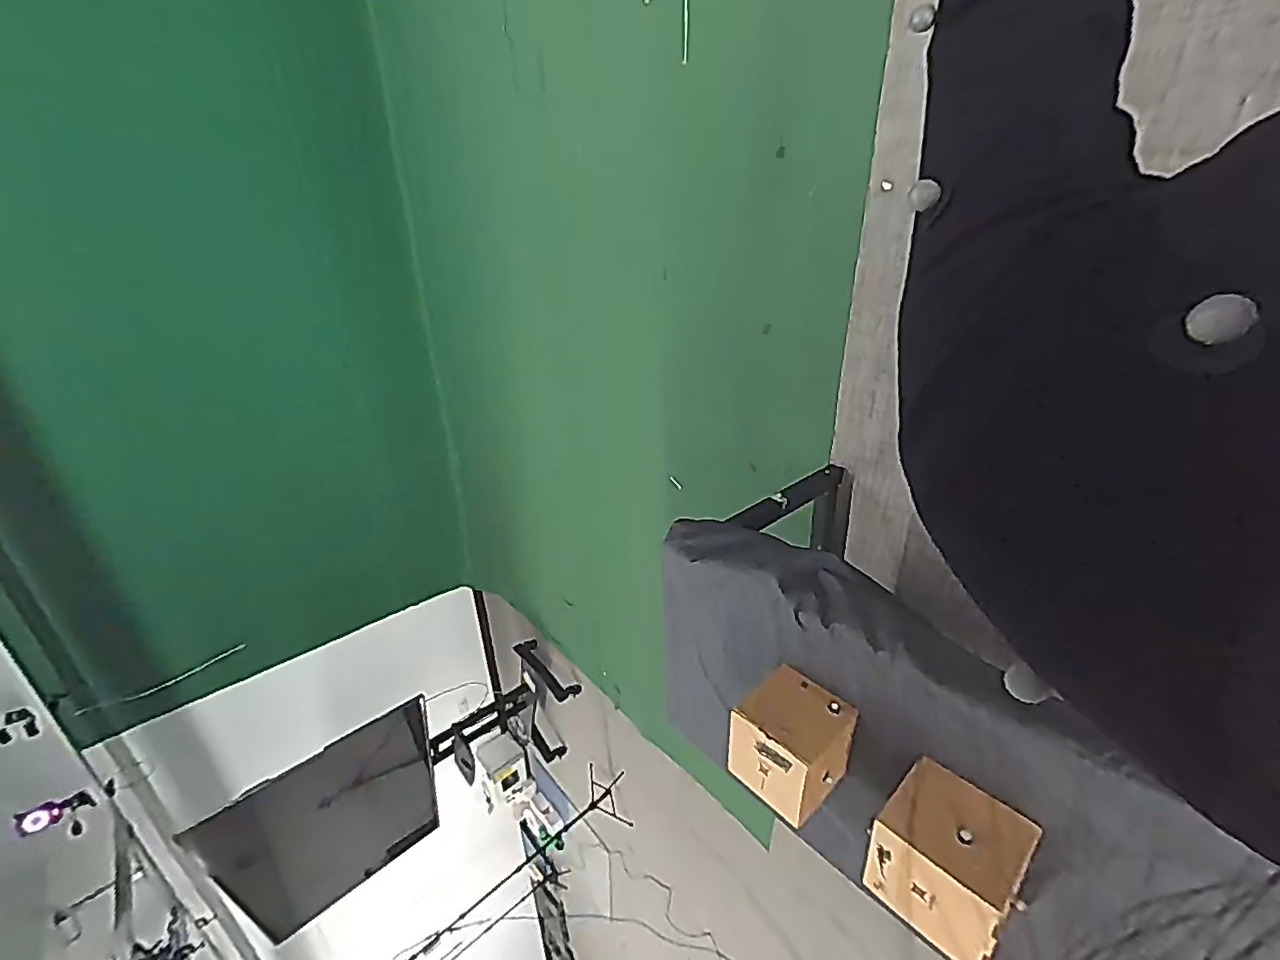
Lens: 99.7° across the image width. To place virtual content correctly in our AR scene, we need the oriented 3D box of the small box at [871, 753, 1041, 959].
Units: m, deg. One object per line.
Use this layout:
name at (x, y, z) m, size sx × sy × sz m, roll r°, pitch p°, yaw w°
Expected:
small box at (0.492, 0.575, 0.846) m, size 0.179 × 0.176 × 0.168 m, roll 21°, pitch 124°, yaw 43°

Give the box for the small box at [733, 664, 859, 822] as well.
small box at (0.299, 0.492, 1.040) m, size 0.168 × 0.176 × 0.179 m, roll 24°, pitch 127°, yaw 43°
